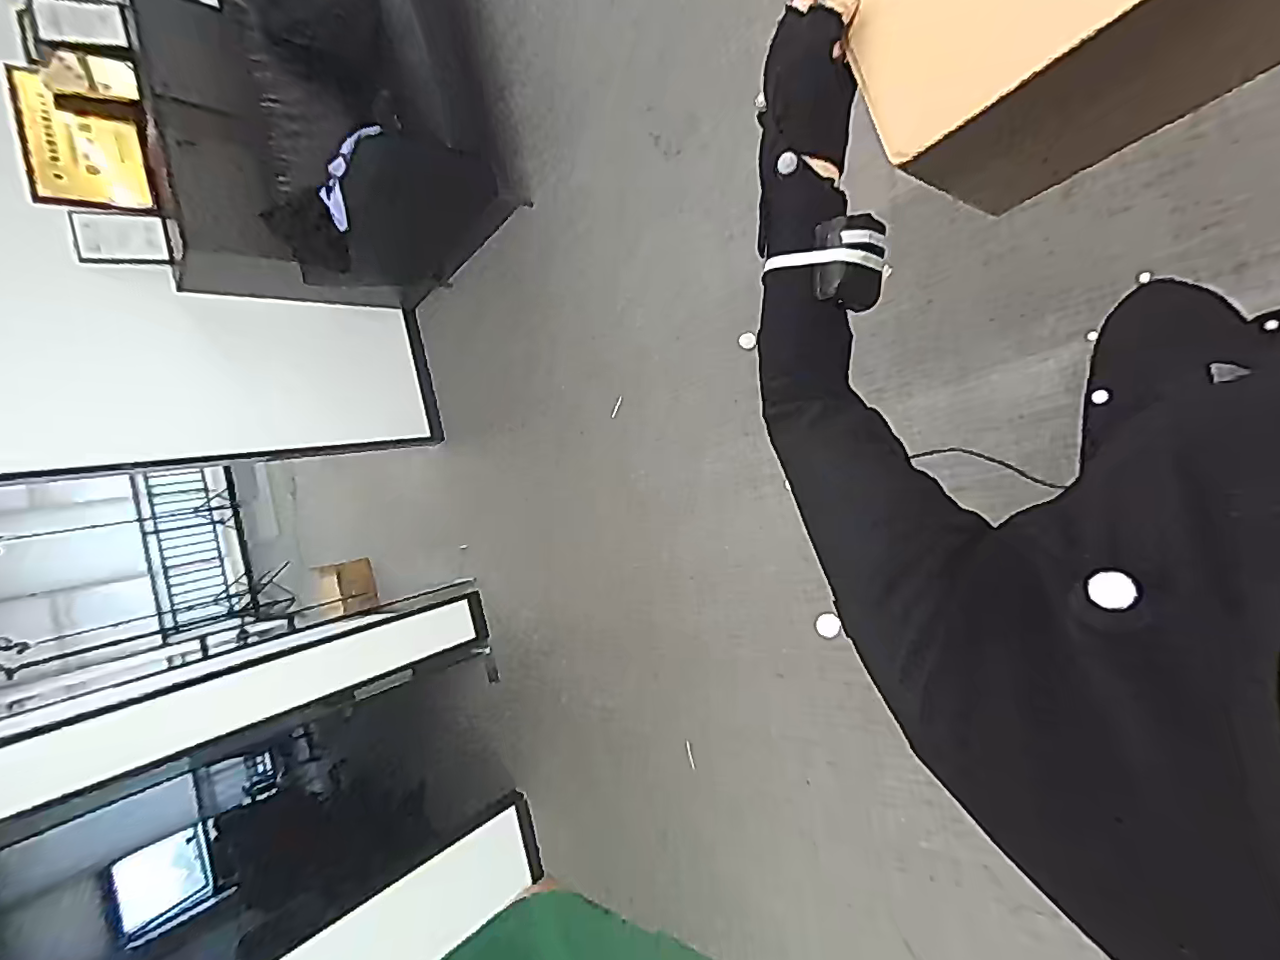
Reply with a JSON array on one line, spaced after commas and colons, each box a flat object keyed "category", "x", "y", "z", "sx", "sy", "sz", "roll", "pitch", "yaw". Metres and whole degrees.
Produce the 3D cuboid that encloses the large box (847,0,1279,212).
[{"category": "large box", "x": 0.389, "y": -0.478, "z": 0.397, "sx": 0.408, "sy": 0.320, "sz": 0.320, "roll": -22, "pitch": 85, "yaw": 45}]
